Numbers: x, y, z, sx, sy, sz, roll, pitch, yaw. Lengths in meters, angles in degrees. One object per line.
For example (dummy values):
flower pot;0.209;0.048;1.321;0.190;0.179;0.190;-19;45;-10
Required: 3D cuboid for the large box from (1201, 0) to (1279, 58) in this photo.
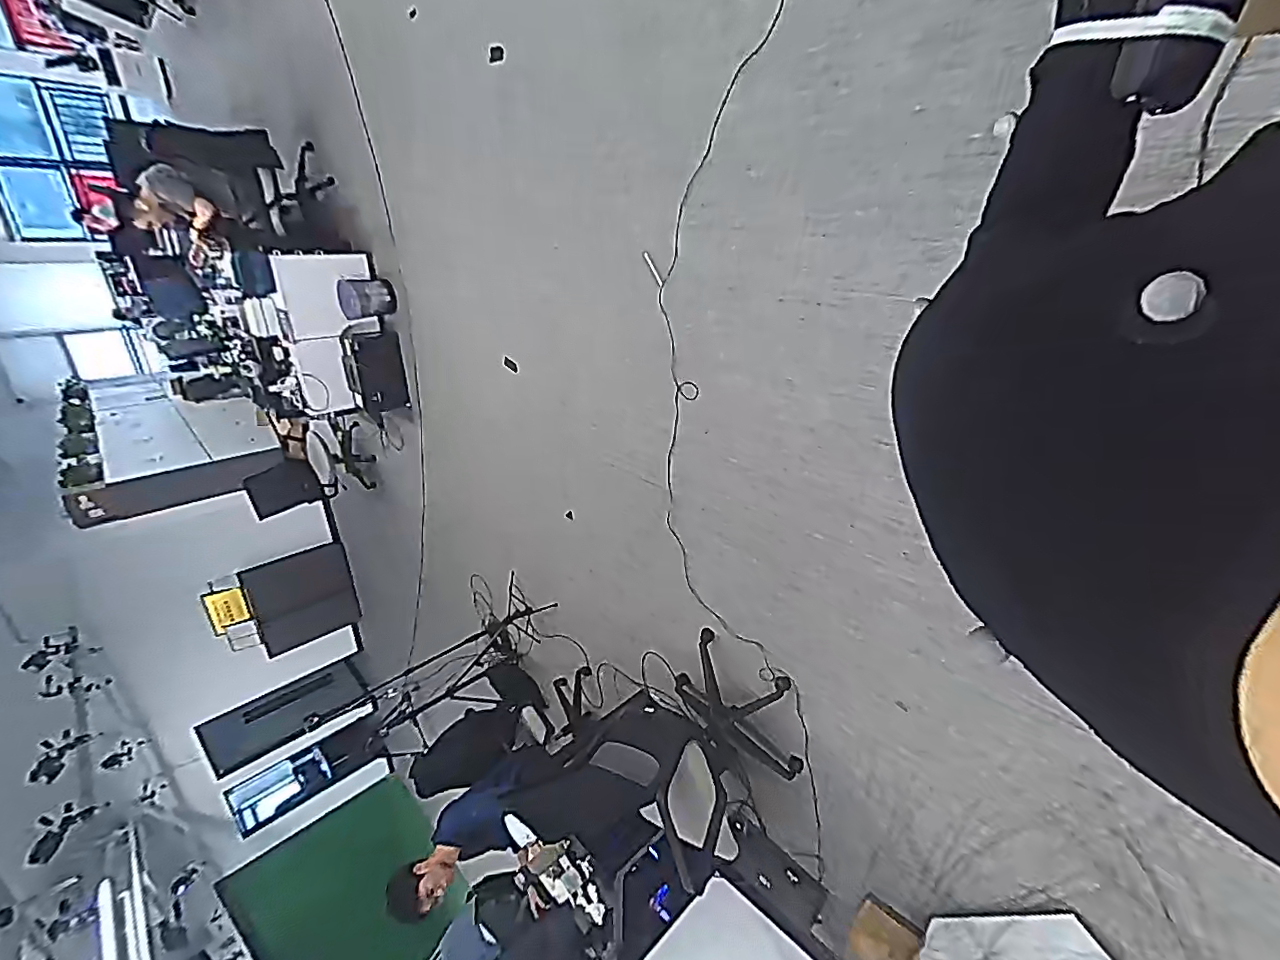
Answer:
large box;0.567;-0.417;0.222;0.408;0.320;0.320;25;127;38
